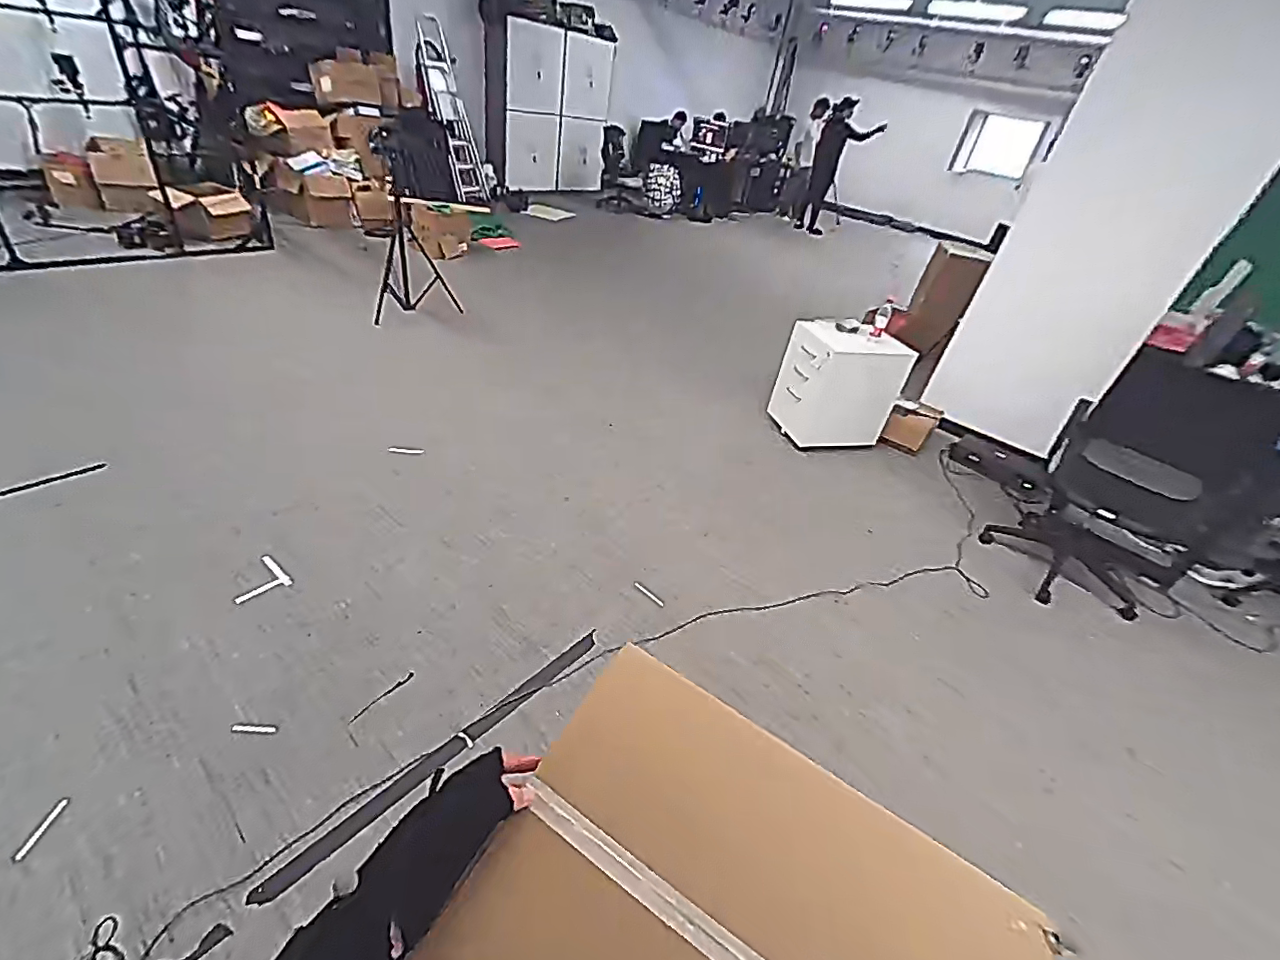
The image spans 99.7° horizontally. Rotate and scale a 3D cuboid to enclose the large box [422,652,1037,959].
[{"bbox_3d":[0.067,0.451,0.530,0.408,0.320,0.320,29,55,18],"label":"large box"}]
